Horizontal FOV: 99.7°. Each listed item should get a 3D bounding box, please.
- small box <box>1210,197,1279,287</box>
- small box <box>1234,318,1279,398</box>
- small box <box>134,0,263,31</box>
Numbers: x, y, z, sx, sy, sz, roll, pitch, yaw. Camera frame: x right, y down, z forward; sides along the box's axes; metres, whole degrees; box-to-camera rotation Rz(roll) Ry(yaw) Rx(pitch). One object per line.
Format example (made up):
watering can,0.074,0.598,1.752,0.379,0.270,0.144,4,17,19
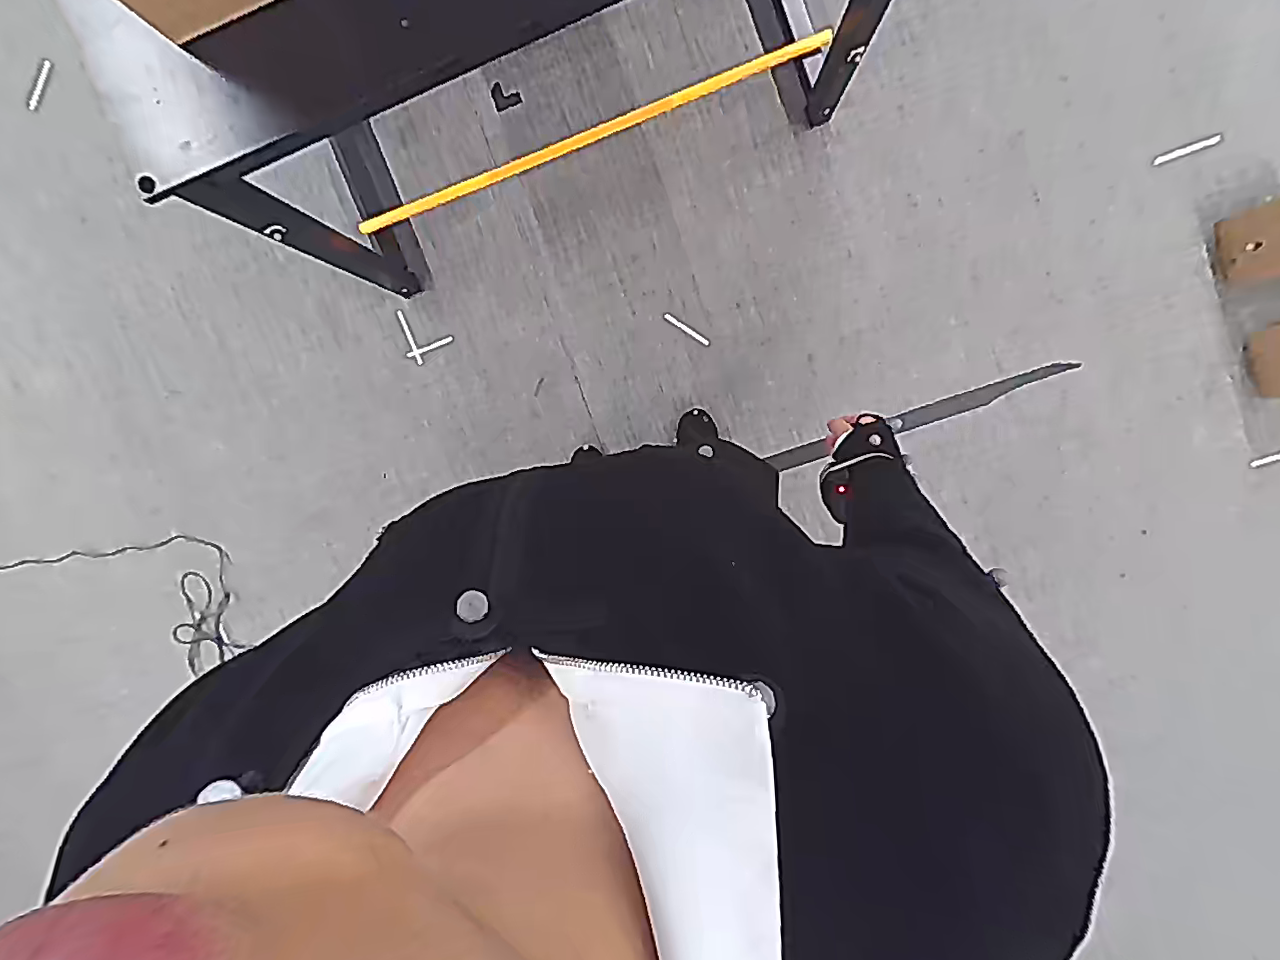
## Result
small box,1.494,-0.569,1.258,0.179,0.176,0.168,-17,96,6
small box,1.595,-0.301,1.286,0.168,0.176,0.179,-21,96,5
small box,-0.563,-0.677,0.621,0.179,0.176,0.168,-19,96,4
